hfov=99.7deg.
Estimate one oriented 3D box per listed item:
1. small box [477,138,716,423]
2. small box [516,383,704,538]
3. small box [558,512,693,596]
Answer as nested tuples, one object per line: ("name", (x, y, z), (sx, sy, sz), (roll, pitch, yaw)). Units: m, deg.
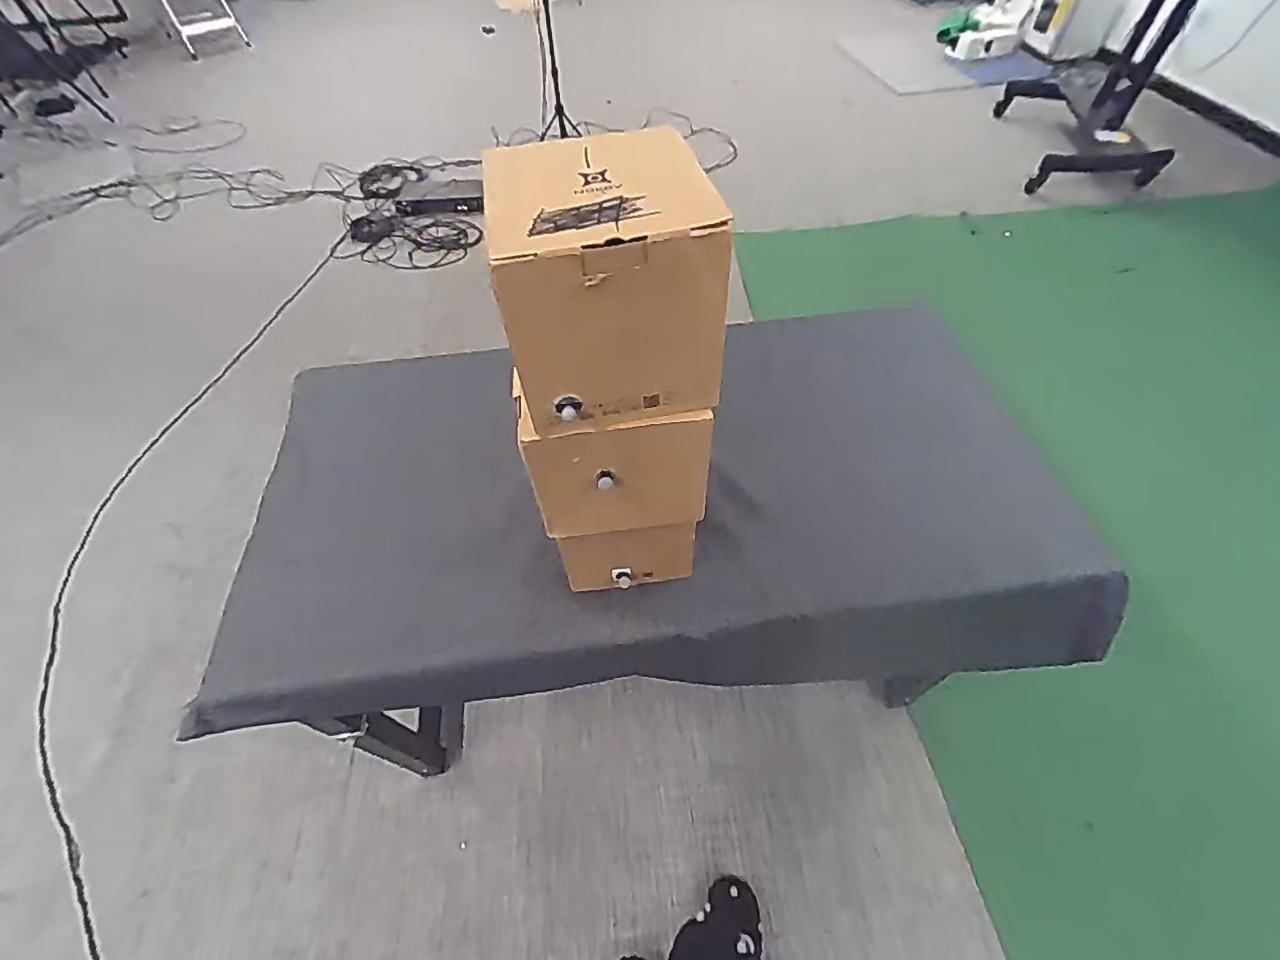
("small box", (-0.037, -0.166, 0.473), (0.168, 0.176, 0.179), (-11, 51, -5))
("small box", (-0.033, -0.054, 0.599), (0.179, 0.176, 0.168), (-9, 50, -5))
("small box", (-0.029, 0.033, 0.735), (0.168, 0.176, 0.179), (-9, 53, -3))
